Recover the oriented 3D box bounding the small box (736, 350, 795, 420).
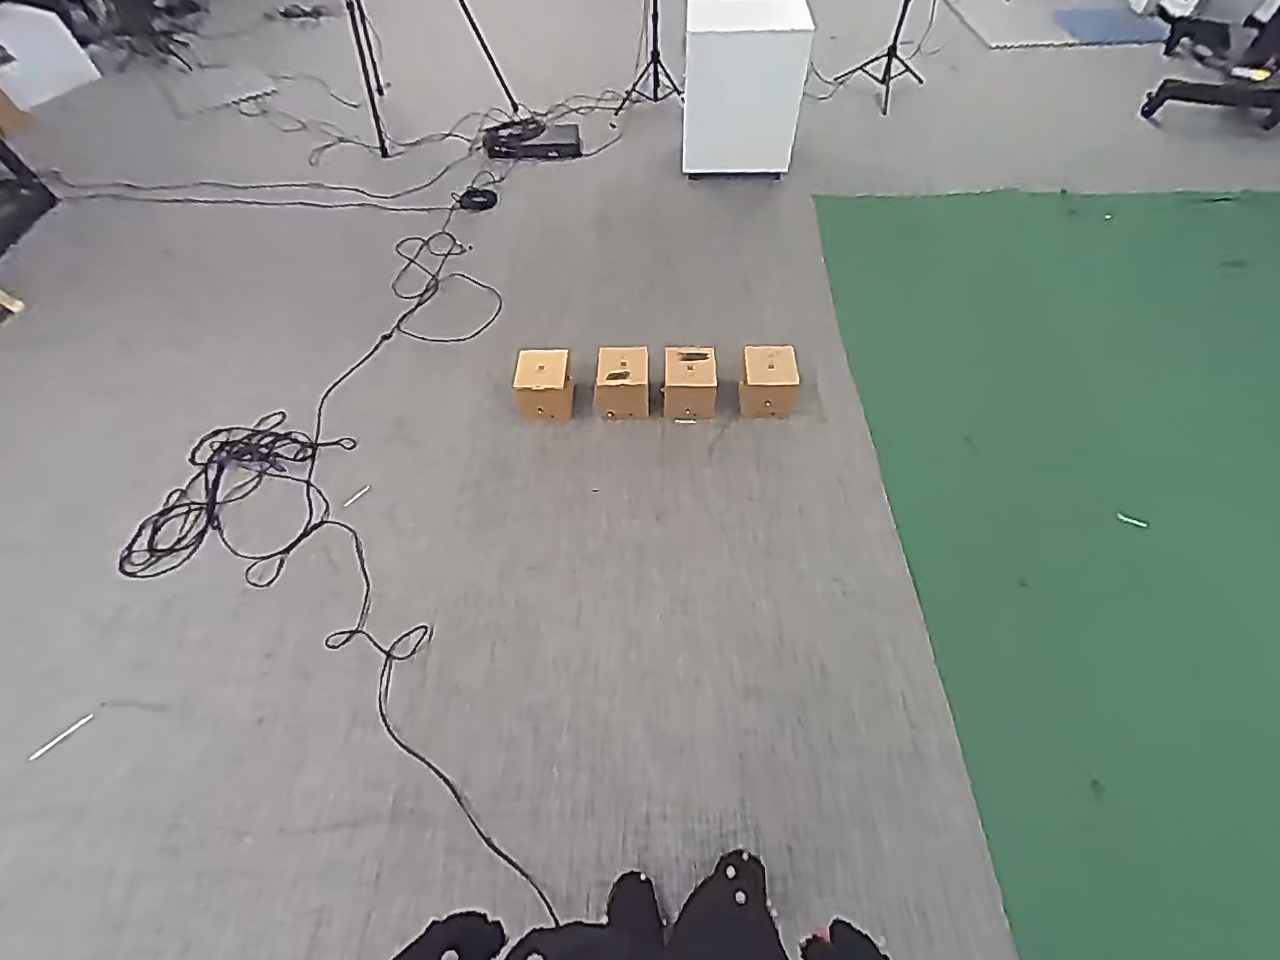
[{"bbox_3d":[0.421,-0.319,1.840,0.168,0.176,0.179,0,57,2],"label":"small box"}]

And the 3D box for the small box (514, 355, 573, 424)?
[{"bbox_3d":[-0.326,-0.311,1.863,0.168,0.176,0.179,-1,56,2],"label":"small box"}]

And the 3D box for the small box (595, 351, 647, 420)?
[{"bbox_3d":[-0.060,-0.319,1.855,0.168,0.176,0.179,-1,55,2],"label":"small box"}]
